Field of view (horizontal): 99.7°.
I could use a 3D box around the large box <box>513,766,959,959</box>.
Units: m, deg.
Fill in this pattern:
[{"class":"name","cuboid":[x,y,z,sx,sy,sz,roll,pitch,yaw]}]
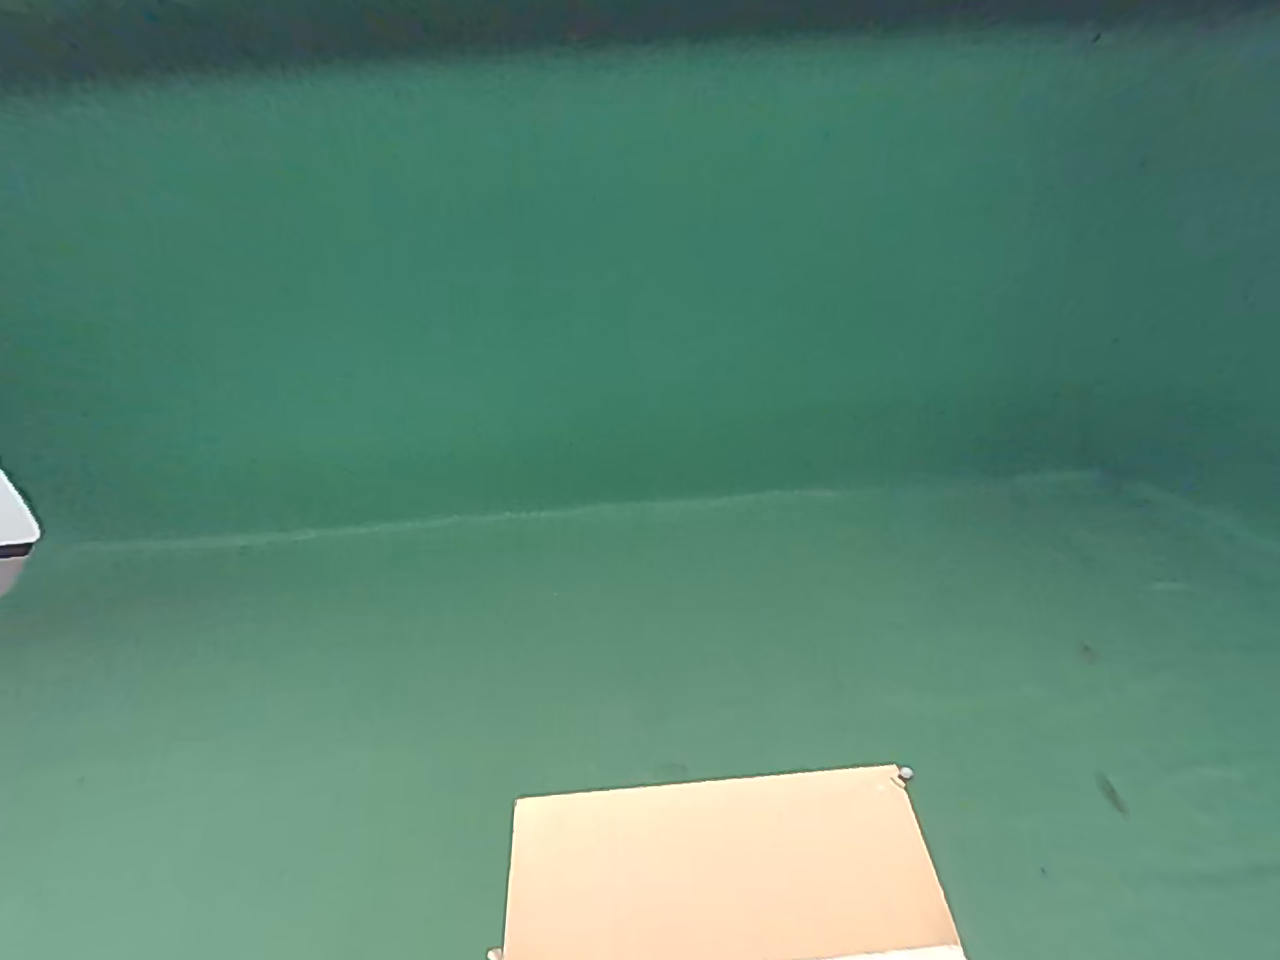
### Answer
[{"class":"large box","cuboid":[0.088,0.540,0.581,0.408,0.320,0.320,-4,48,-3]}]
